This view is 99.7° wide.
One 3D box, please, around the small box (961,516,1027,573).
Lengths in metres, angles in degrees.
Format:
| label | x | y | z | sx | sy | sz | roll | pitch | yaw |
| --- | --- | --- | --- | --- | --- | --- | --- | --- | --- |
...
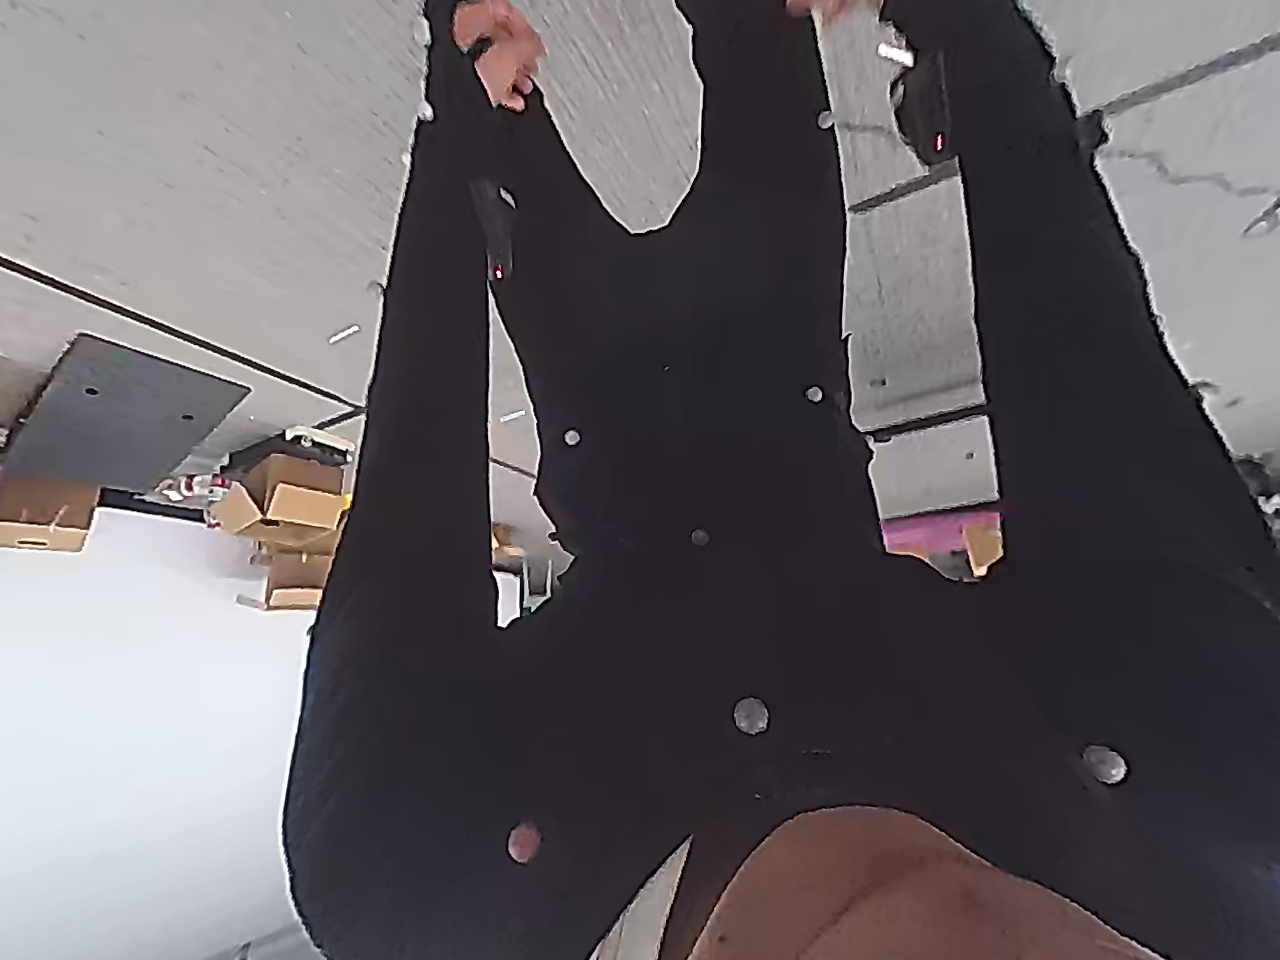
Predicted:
| label | x | y | z | sx | sy | sz | roll | pitch | yaw |
| --- | --- | --- | --- | --- | --- | --- | --- | --- | --- |
| small box | 1.313 | 0.242 | 2.016 | 0.168 | 0.176 | 0.179 | -15 | 156 | 26 |
